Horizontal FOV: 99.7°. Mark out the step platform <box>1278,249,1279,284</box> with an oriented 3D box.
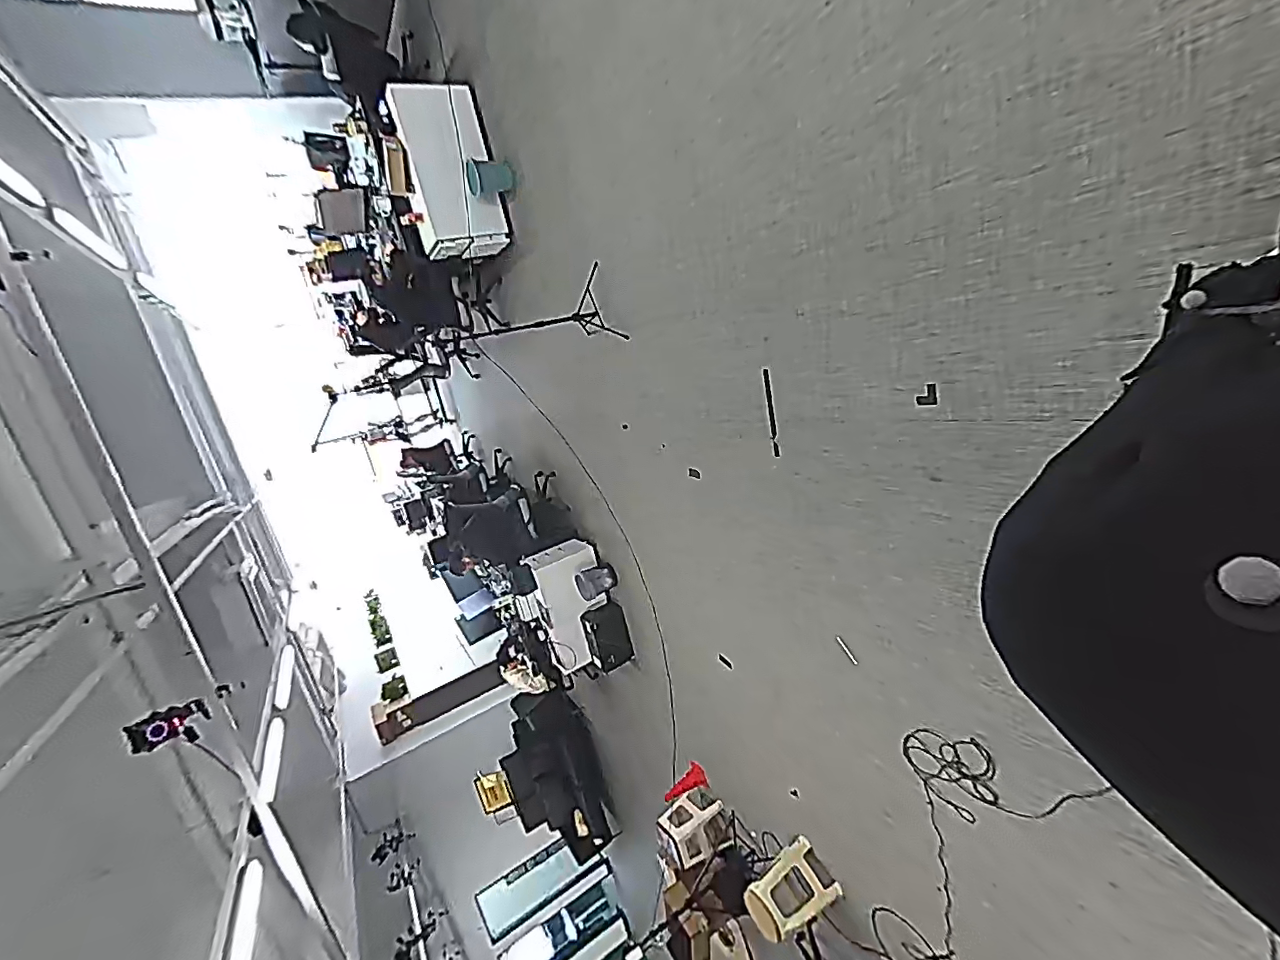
[{"bbox_3d":[1.361,-0.378,0.706,0.684,0.204,0.286,9,117,59],"label":"step platform"}]
